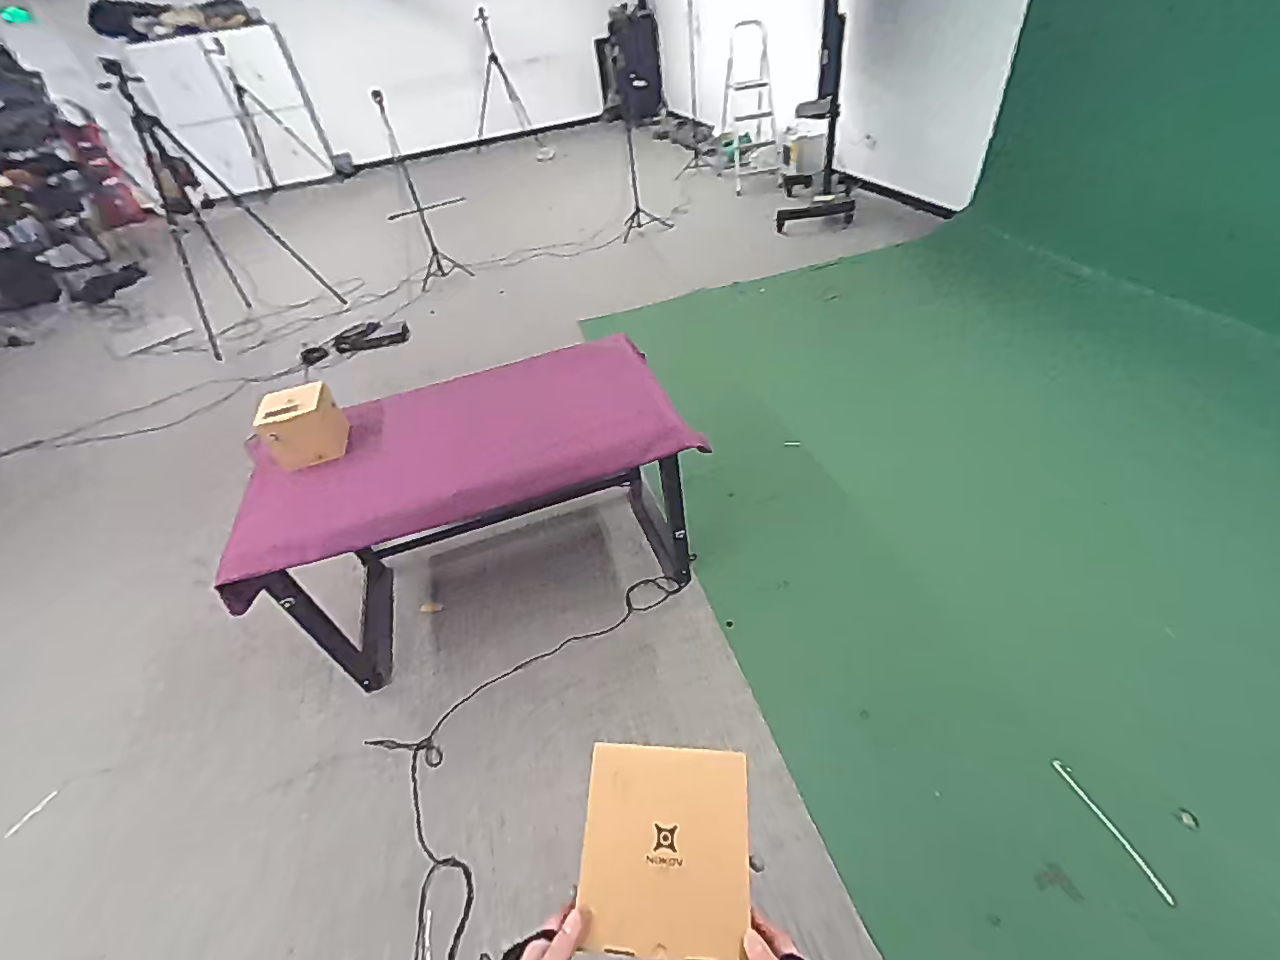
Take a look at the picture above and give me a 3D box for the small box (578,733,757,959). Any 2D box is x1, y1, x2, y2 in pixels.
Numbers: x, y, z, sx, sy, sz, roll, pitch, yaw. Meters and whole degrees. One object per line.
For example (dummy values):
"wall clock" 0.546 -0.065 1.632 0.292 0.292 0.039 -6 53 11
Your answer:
"small box" 0.035 0.393 0.599 0.168 0.176 0.179 1 57 6
